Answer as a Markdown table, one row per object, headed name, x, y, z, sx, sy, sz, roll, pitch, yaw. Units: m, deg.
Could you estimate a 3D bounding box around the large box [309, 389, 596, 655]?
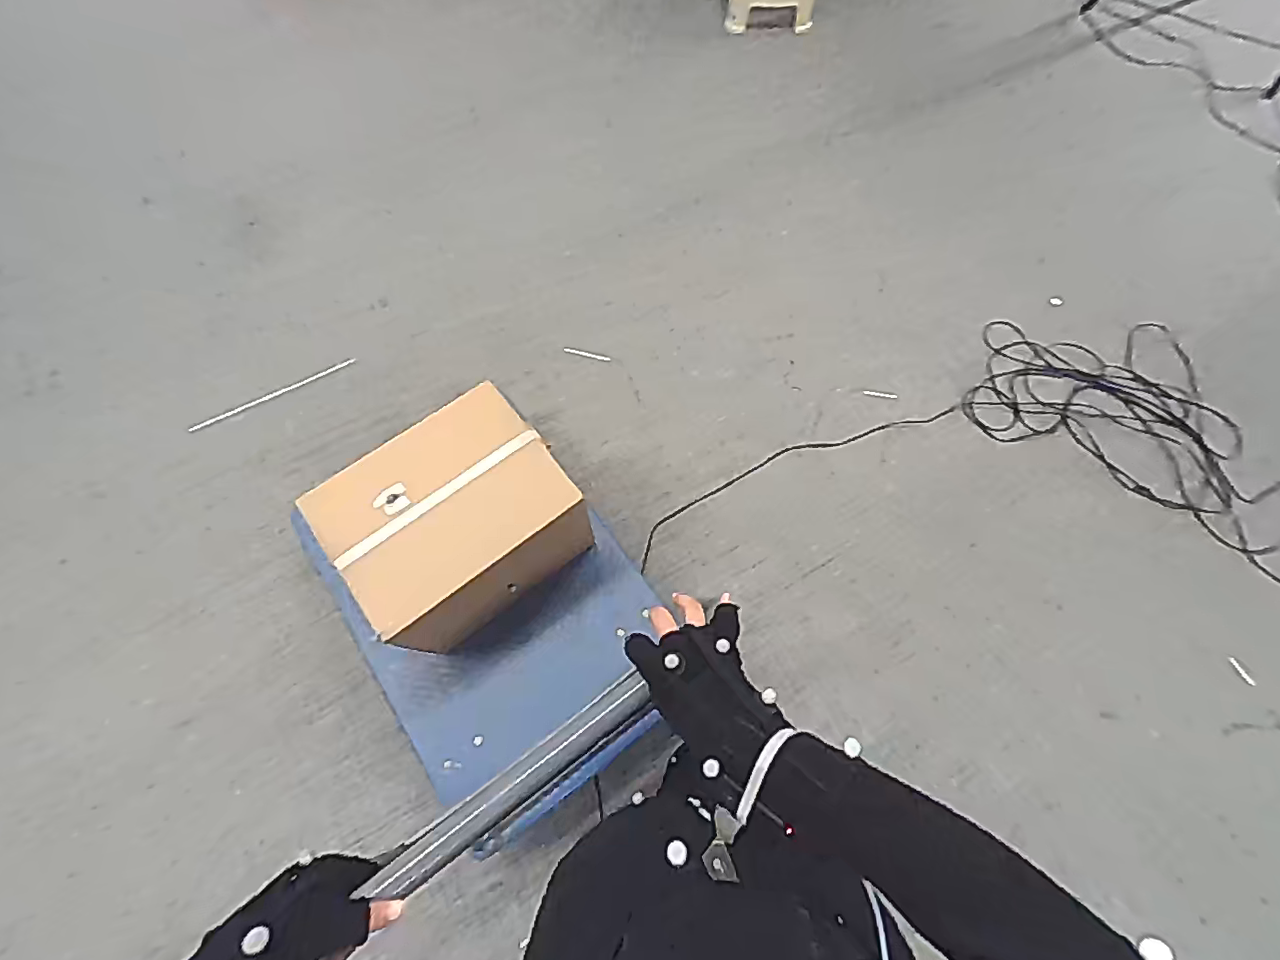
| name | x | y | z | sx | sy | sz | roll | pitch | yaw |
| --- | --- | --- | --- | --- | --- | --- | --- | --- | --- |
| large box | -0.344 | 0.099 | 1.105 | 0.408 | 0.320 | 0.320 | -37 | 72 | -13 |
